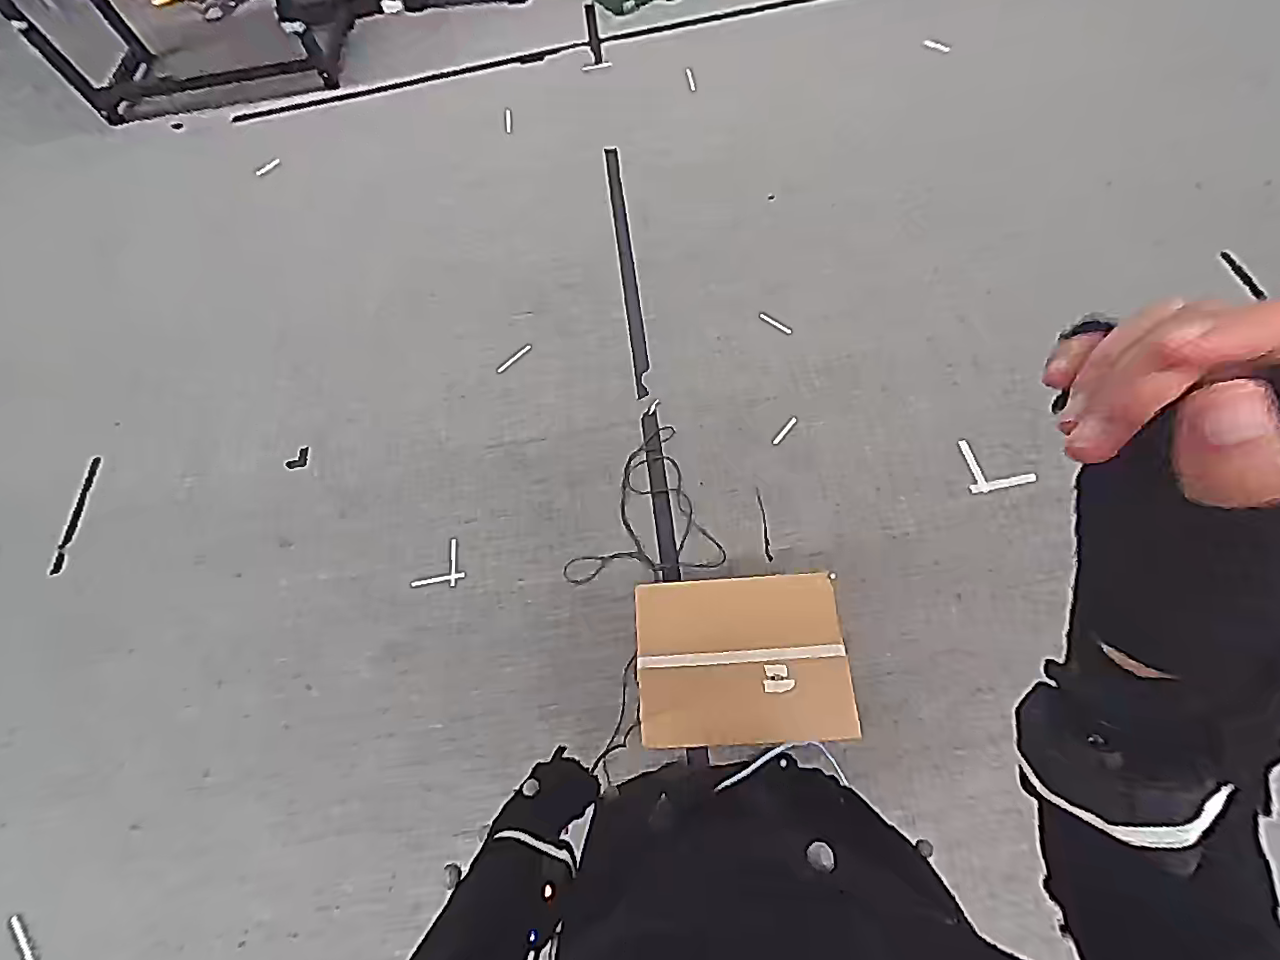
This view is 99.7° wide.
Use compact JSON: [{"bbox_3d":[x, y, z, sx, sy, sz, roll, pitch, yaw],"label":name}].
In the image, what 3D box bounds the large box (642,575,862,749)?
[{"bbox_3d":[0.222,0.414,1.207,0.408,0.320,0.320,-4,66,4],"label":"large box"}]
